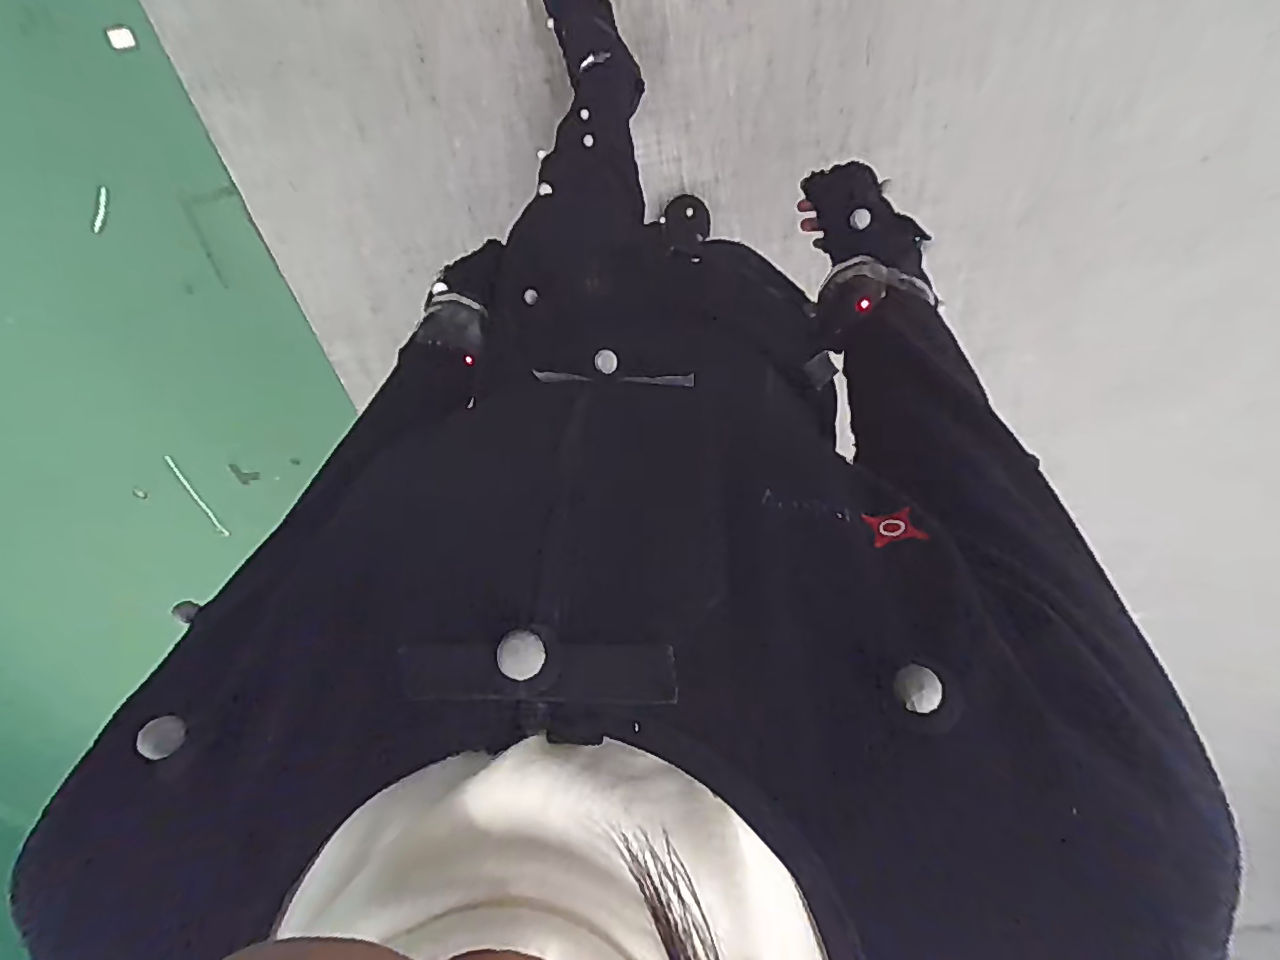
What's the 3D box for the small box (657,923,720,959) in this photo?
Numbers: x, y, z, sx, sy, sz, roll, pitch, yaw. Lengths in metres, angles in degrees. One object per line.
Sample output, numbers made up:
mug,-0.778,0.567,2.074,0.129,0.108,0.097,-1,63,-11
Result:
small box,0.148,1.452,1.612,0.179,0.176,0.168,-9,123,11
